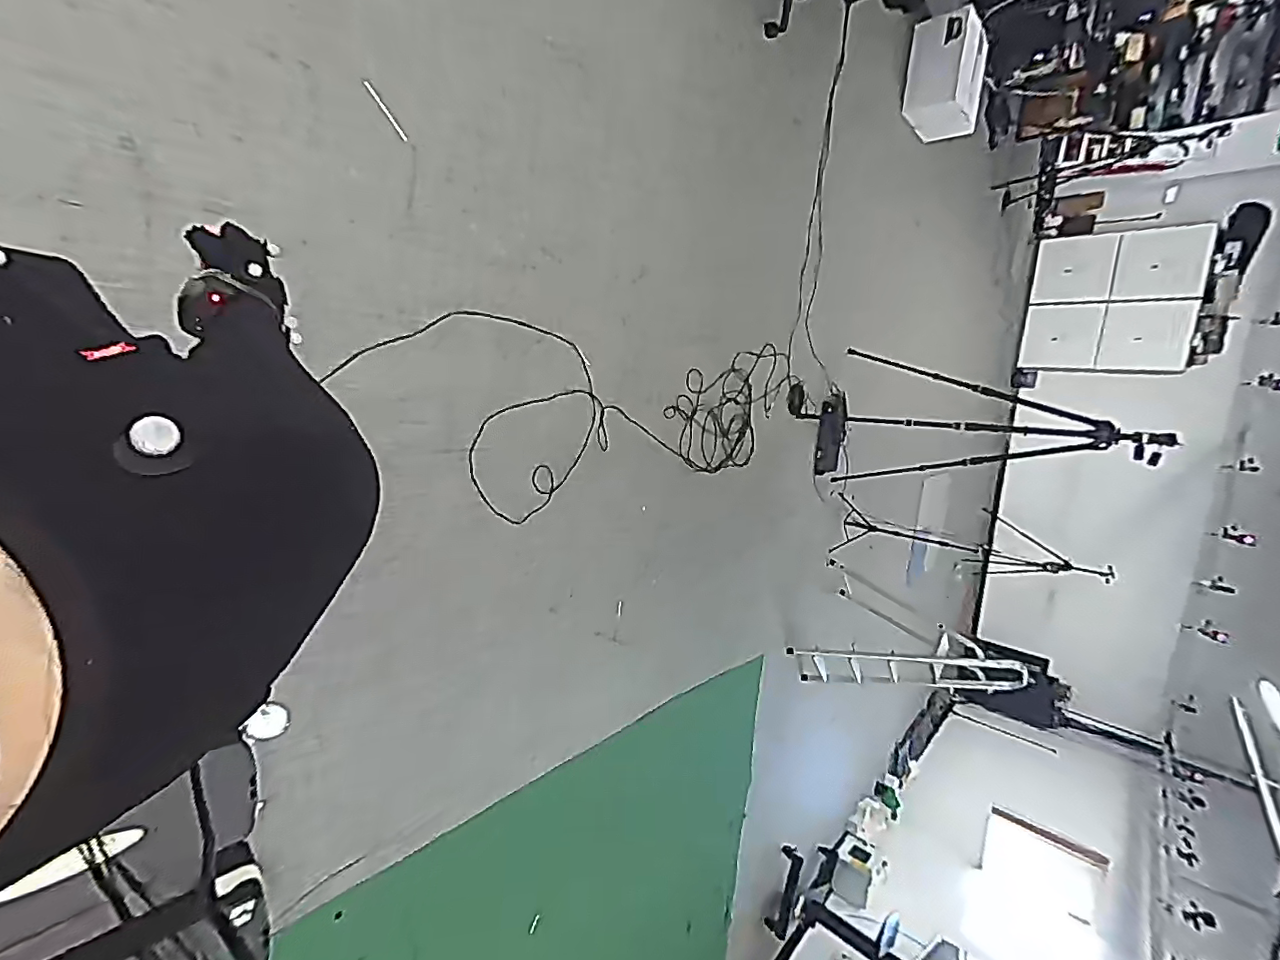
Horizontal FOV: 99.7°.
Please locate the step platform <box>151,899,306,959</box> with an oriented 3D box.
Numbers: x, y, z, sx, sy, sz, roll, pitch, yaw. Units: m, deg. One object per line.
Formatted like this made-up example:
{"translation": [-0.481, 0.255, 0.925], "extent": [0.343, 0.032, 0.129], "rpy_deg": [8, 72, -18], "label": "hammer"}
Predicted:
{"translation": [-1.026, 1.146, 1.008], "extent": [0.684, 0.204, 0.286], "rpy_deg": [-7, 104, -49], "label": "step platform"}
